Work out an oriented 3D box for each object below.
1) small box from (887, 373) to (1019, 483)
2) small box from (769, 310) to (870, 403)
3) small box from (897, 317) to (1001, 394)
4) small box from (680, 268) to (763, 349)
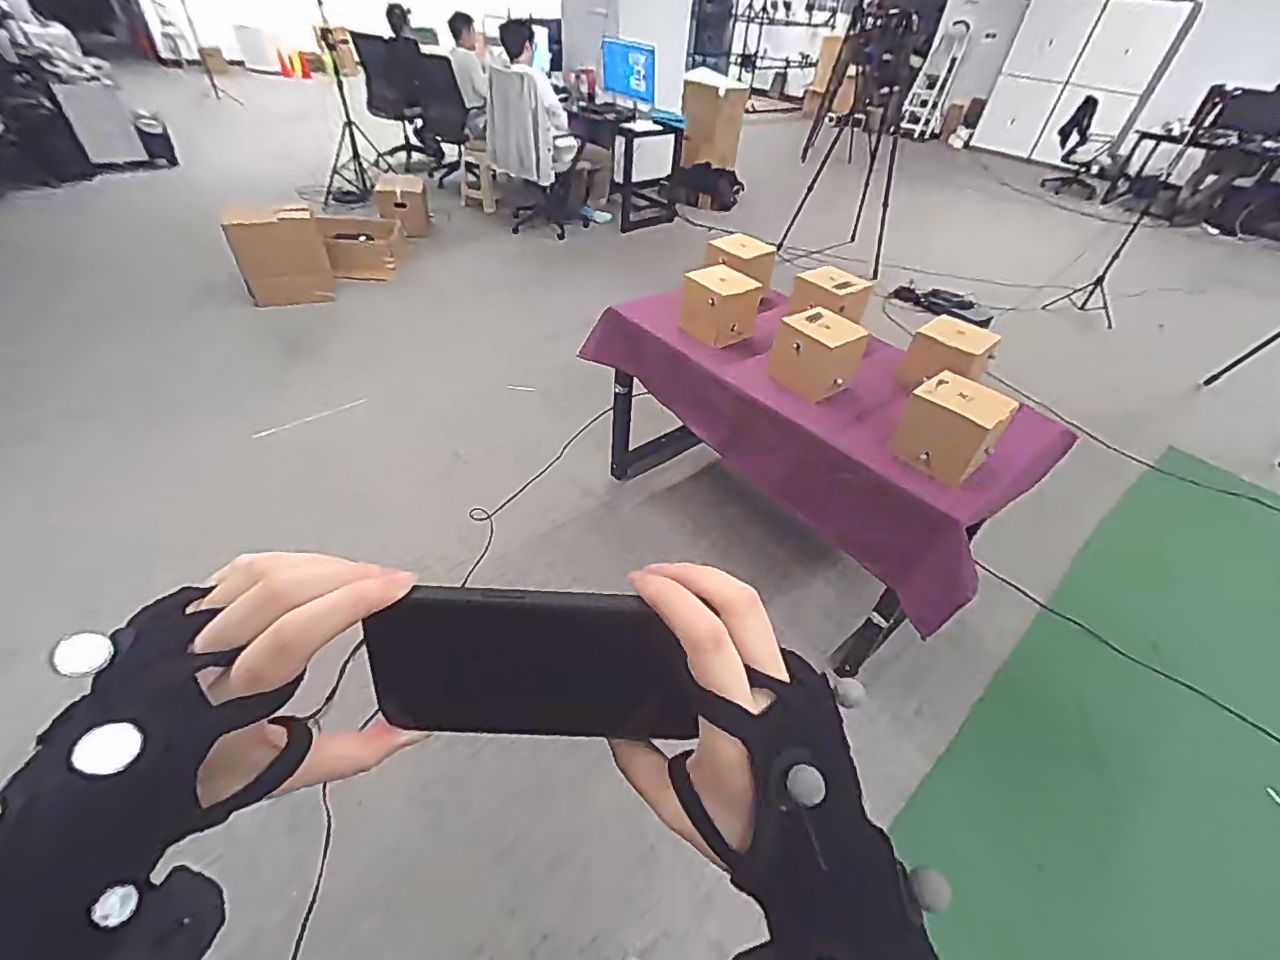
[{"bbox_3d":[0.712,-0.114,1.244,0.168,0.176,0.179,-28,52,-32],"label":"small box"},{"bbox_3d":[0.477,-0.335,1.465,0.168,0.176,0.179,-24,51,-29],"label":"small box"},{"bbox_3d":[0.842,-0.322,1.488,0.179,0.176,0.168,-30,52,-32],"label":"small box"},{"bbox_3d":[0.240,-0.522,1.647,0.168,0.176,0.179,-26,52,-30],"label":"small box"}]
